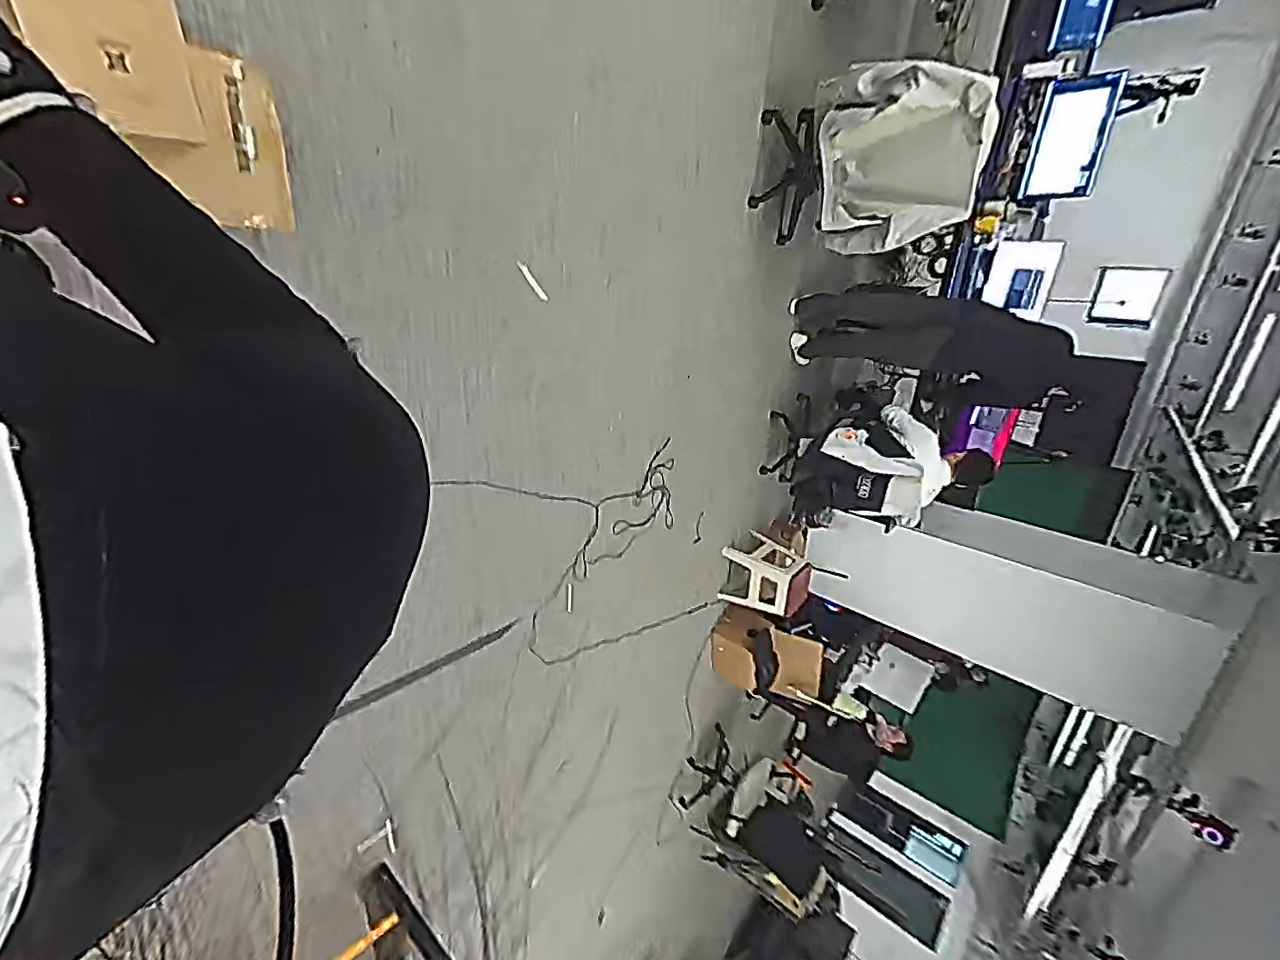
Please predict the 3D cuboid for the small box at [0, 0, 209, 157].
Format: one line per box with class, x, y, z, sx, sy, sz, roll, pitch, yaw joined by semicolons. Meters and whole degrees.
small box;-0.749;-0.568;0.756;0.168;0.176;0.179;-25;124;-44
